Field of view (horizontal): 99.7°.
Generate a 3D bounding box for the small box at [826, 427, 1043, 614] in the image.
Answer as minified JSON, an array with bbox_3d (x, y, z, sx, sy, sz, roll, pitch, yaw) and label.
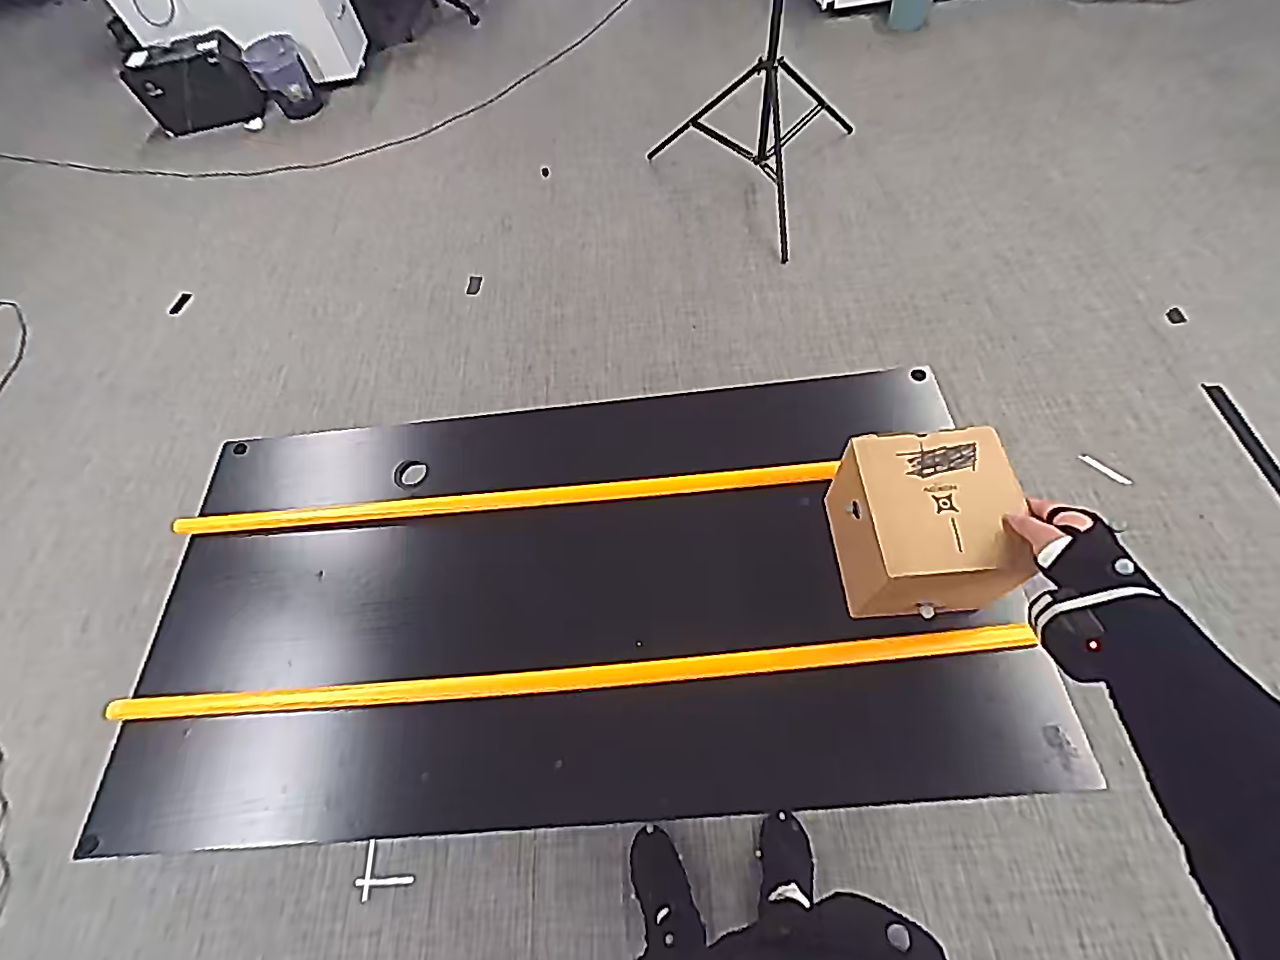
[{"bbox_3d":[0.343,0.056,0.675,0.168,0.176,0.179,-5,61,5],"label":"small box"}]
